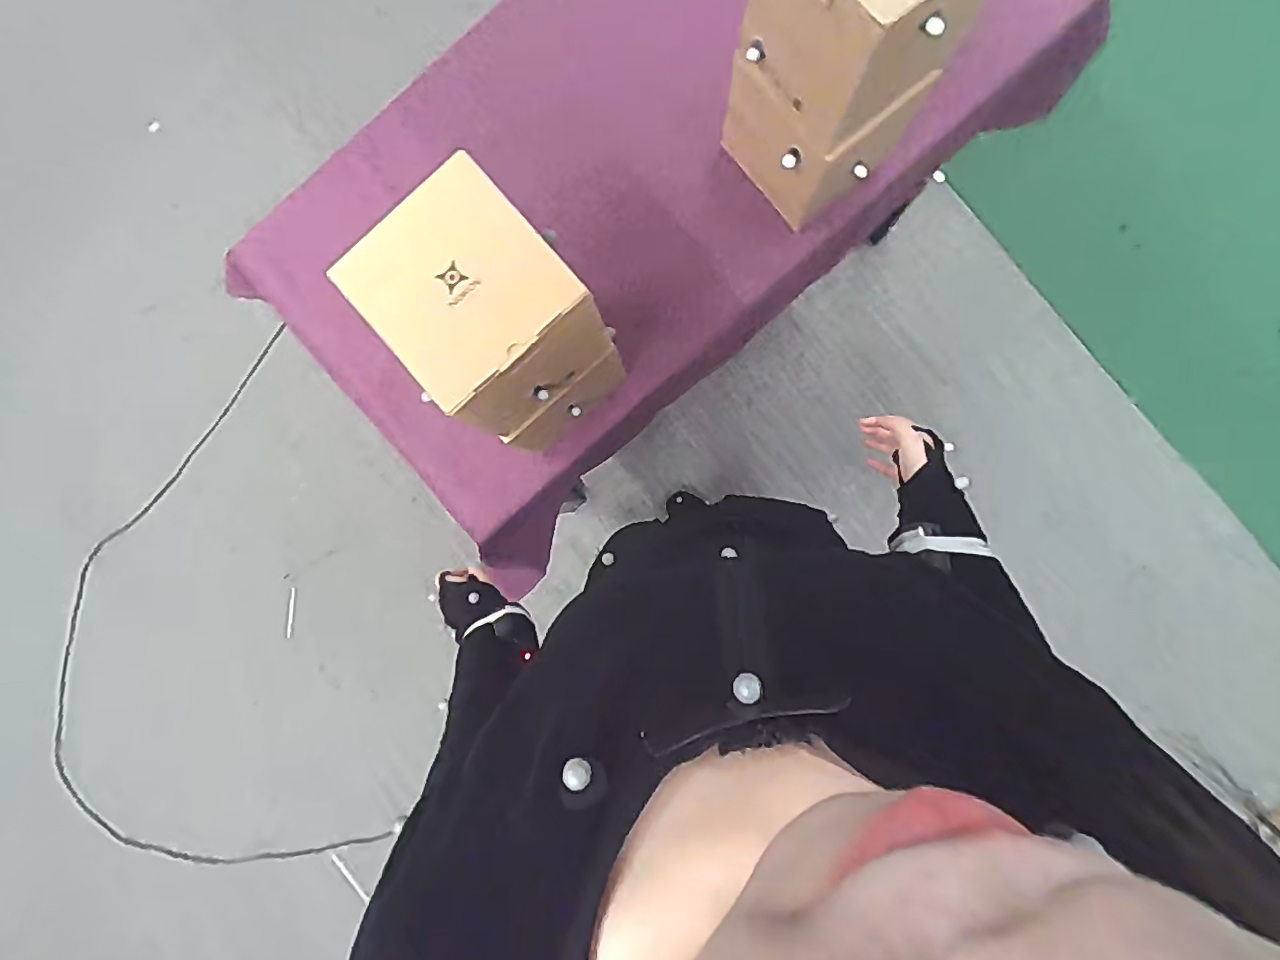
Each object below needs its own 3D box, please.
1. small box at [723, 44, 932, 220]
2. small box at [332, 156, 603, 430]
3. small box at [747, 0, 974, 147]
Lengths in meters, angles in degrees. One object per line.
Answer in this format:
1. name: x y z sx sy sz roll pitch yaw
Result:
1. small box: 0.229 -0.477 0.709 0.168 0.176 0.179 -38 86 1
2. small box: -0.157 -0.170 0.556 0.168 0.176 0.179 -41 87 1
3. small box: 0.225 -0.490 0.545 0.179 0.176 0.168 -38 87 0
